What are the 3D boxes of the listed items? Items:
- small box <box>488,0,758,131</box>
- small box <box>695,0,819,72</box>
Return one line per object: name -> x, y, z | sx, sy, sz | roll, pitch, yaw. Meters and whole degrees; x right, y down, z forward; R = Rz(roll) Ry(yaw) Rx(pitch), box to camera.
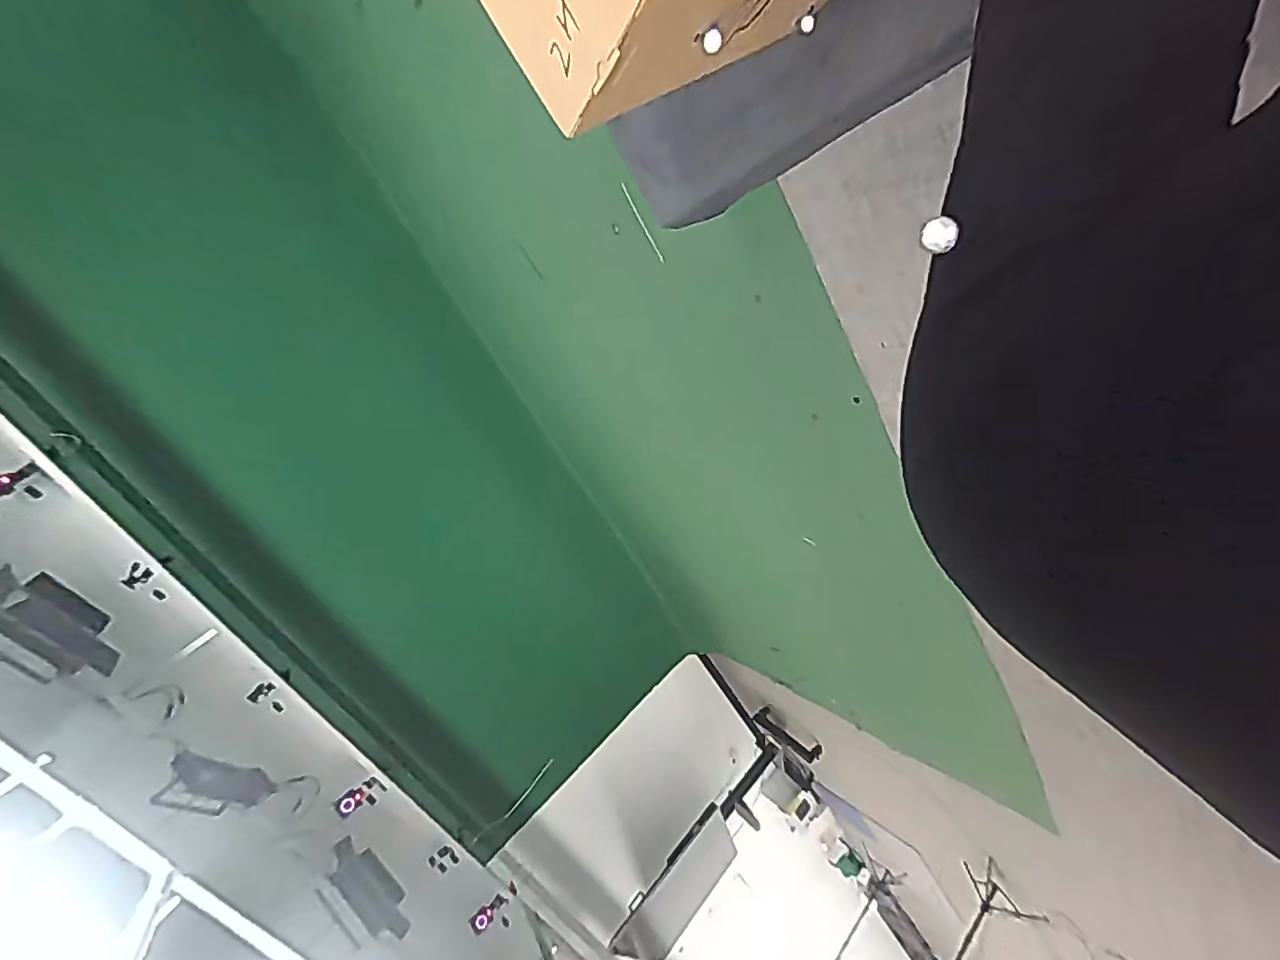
small box -> -0.012, -0.416, 0.402 | 0.179, 0.176, 0.168 | 56, 158, -14
small box -> 0.107, -0.513, 0.463 | 0.179, 0.176, 0.168 | 57, 157, -15
